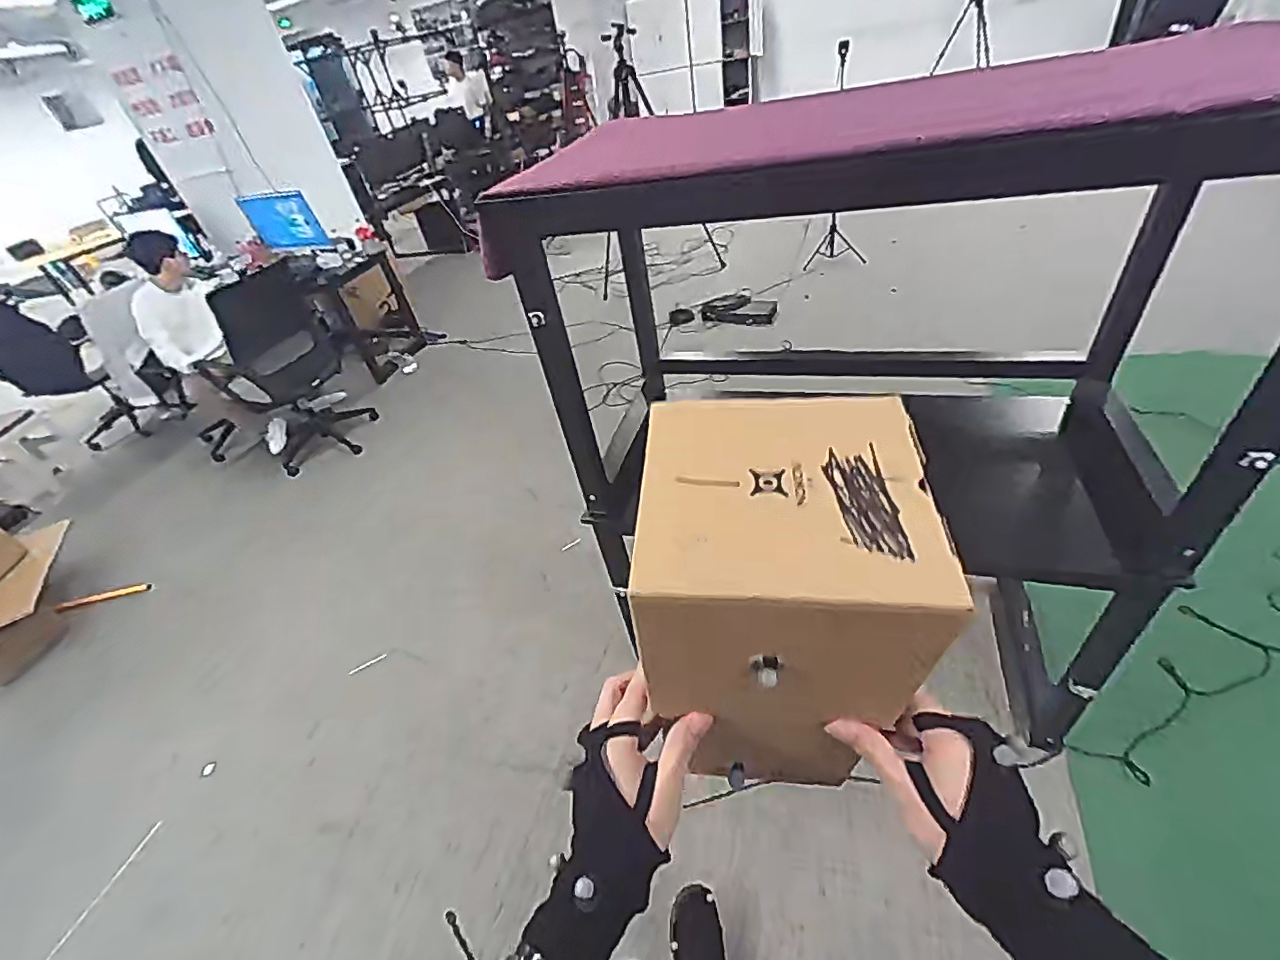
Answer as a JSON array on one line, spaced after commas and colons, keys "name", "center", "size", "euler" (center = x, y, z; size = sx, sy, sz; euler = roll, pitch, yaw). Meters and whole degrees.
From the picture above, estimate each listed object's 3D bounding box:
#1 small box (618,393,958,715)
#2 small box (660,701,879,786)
[{"name": "small box", "center": [0.090, 0.055, 0.390], "size": [0.179, 0.176, 0.168], "euler": [0, 46, 9]}, {"name": "small box", "center": [0.107, 0.164, 0.512], "size": [0.168, 0.176, 0.179], "euler": [1, 47, 8]}]
